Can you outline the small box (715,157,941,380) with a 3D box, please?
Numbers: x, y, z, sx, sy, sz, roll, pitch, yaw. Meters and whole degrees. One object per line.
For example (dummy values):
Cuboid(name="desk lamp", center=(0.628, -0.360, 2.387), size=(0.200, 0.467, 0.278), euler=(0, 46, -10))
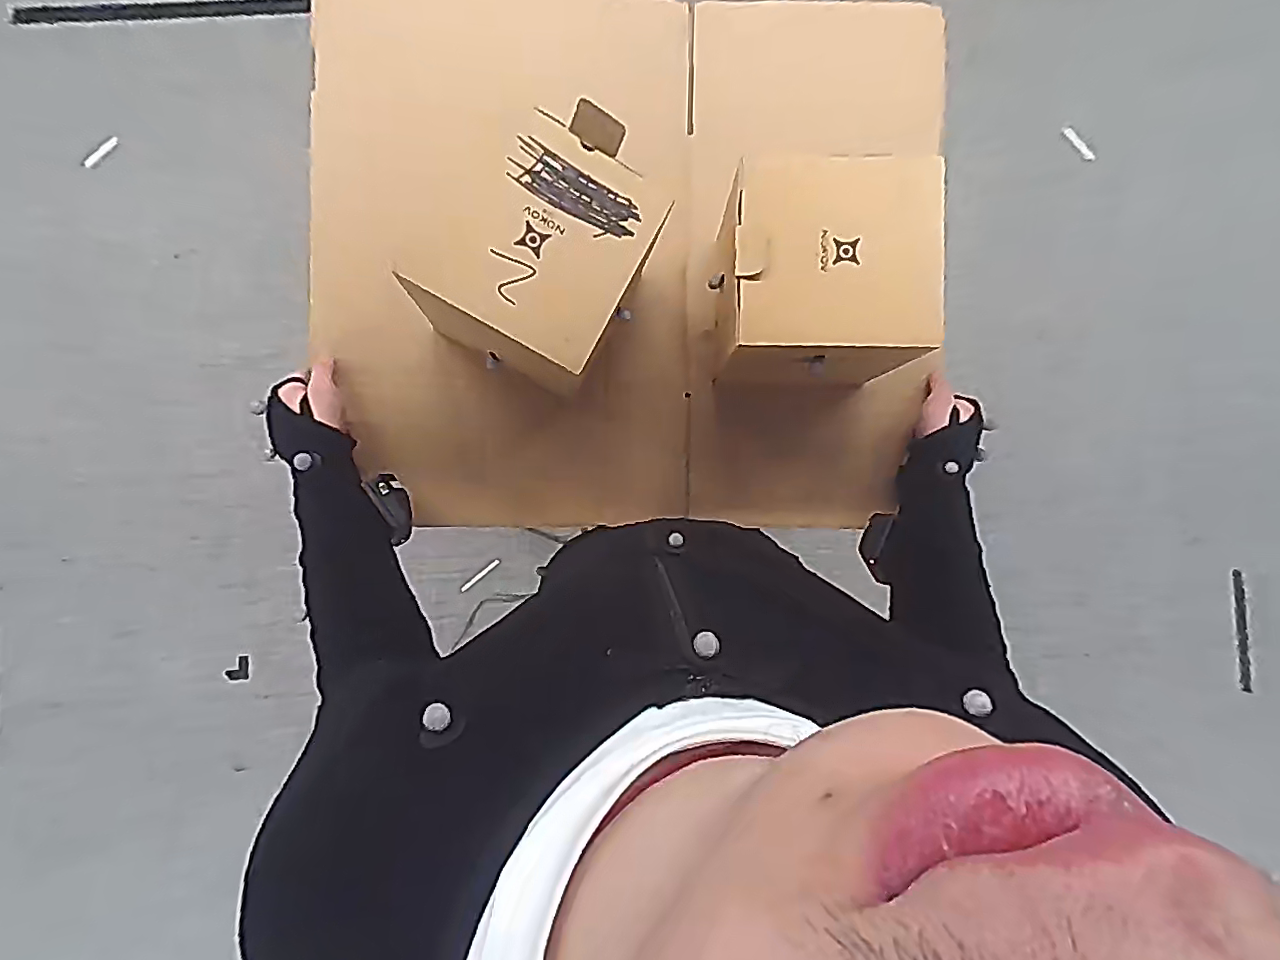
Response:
Cuboid(name="small box", center=(0.177, -0.200, 0.555), size=(0.179, 0.176, 0.168), euler=(1, 90, 1))
